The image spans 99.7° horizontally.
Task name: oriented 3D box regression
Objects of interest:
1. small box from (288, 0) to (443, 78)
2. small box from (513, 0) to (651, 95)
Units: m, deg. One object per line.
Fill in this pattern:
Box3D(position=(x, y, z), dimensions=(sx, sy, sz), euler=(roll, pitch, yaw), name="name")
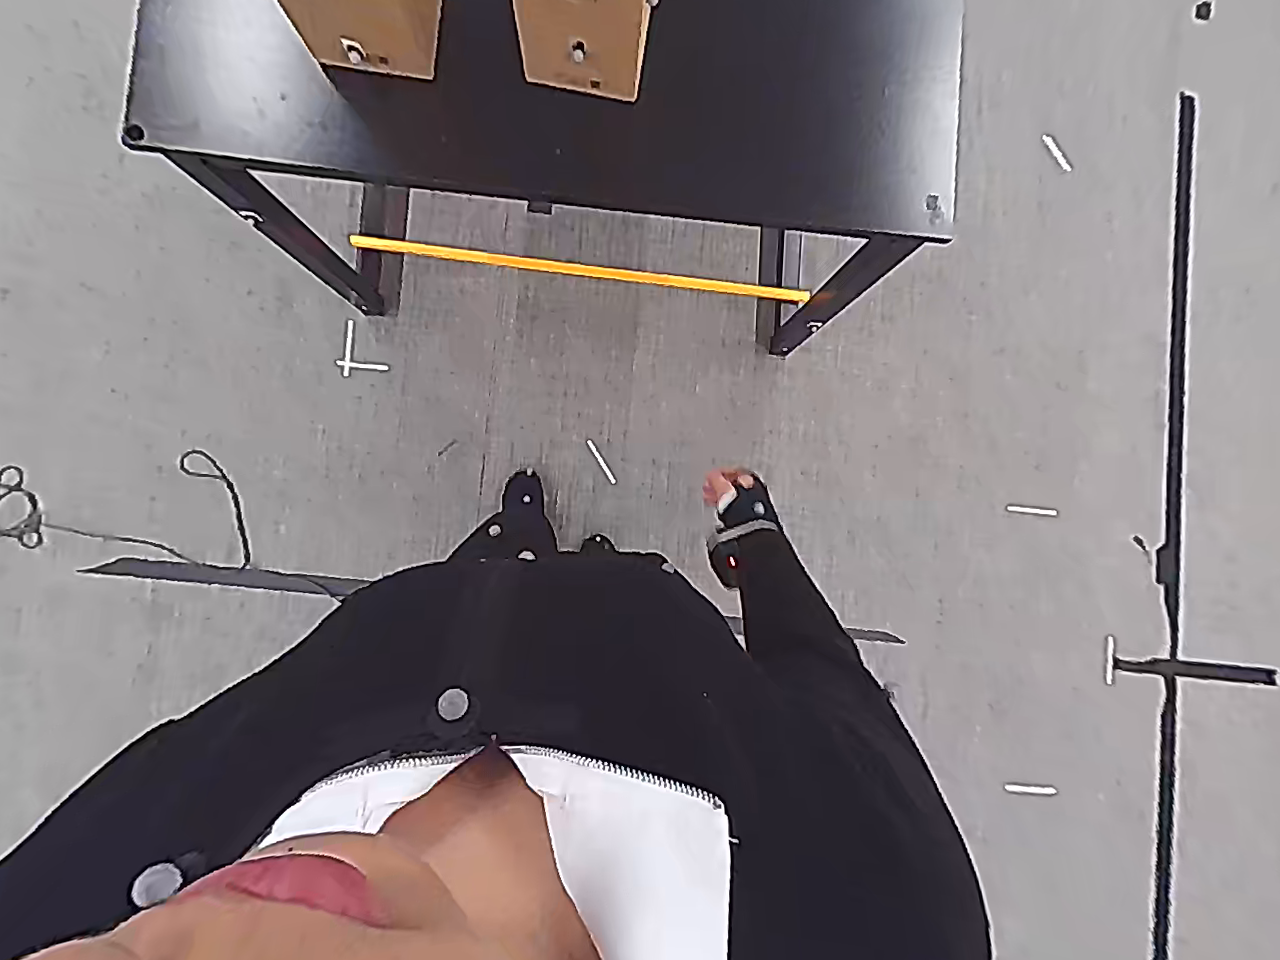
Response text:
Box3D(position=(-0.366, -0.679, 0.704), dimensions=(0.168, 0.176, 0.179), euler=(5, 88, -3), name="small box")
Box3D(position=(-0.069, -0.665, 0.724), dimensions=(0.168, 0.176, 0.179), euler=(9, 87, -4), name="small box")
